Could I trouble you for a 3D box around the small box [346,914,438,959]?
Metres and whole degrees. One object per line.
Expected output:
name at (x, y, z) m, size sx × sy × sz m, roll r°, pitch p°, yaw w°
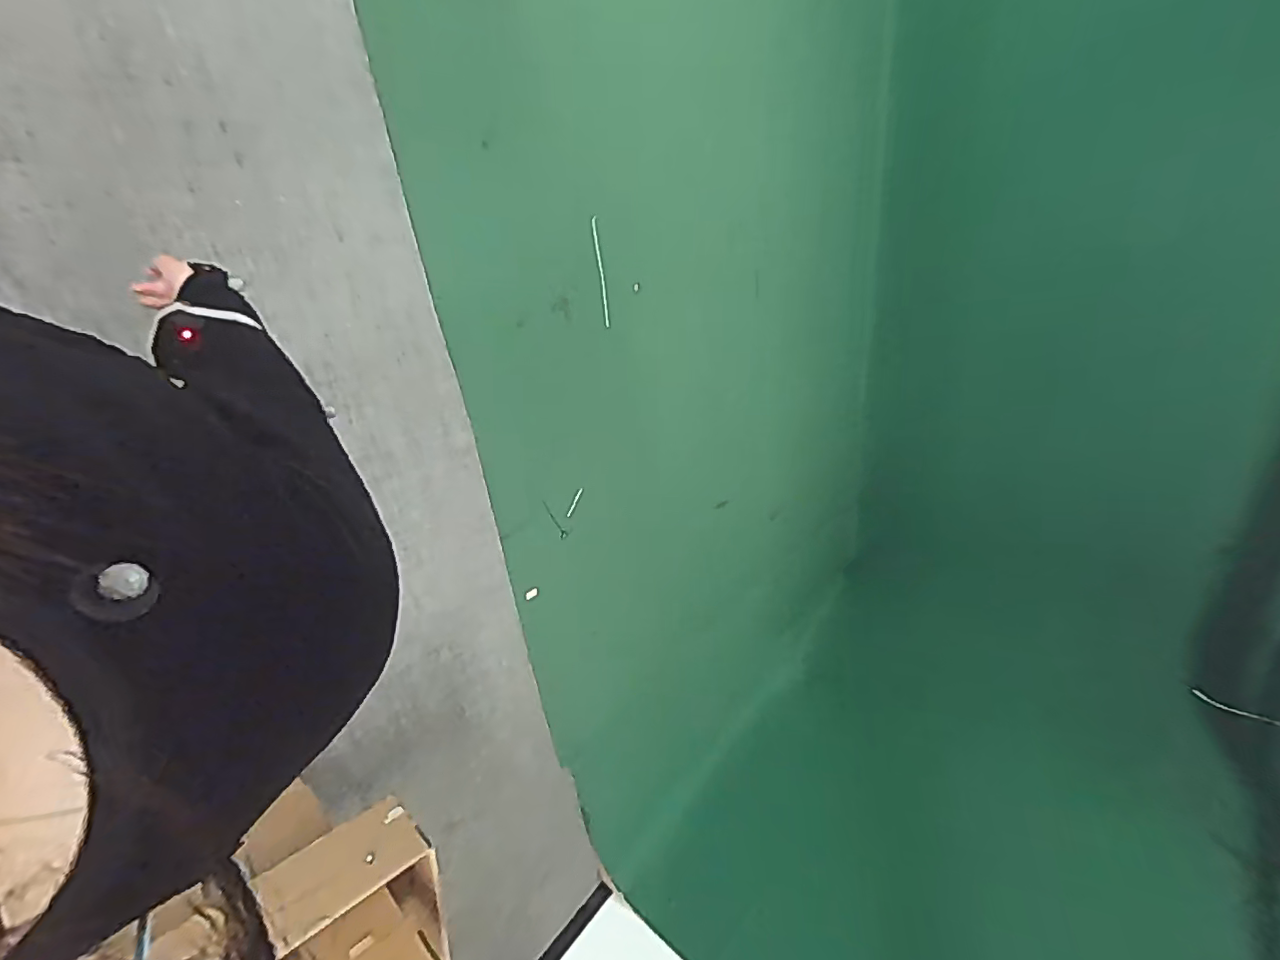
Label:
small box at (-0.472, 0.993, 1.024) m, size 0.179 × 0.176 × 0.168 m, roll -18°, pitch 115°, yaw -42°
